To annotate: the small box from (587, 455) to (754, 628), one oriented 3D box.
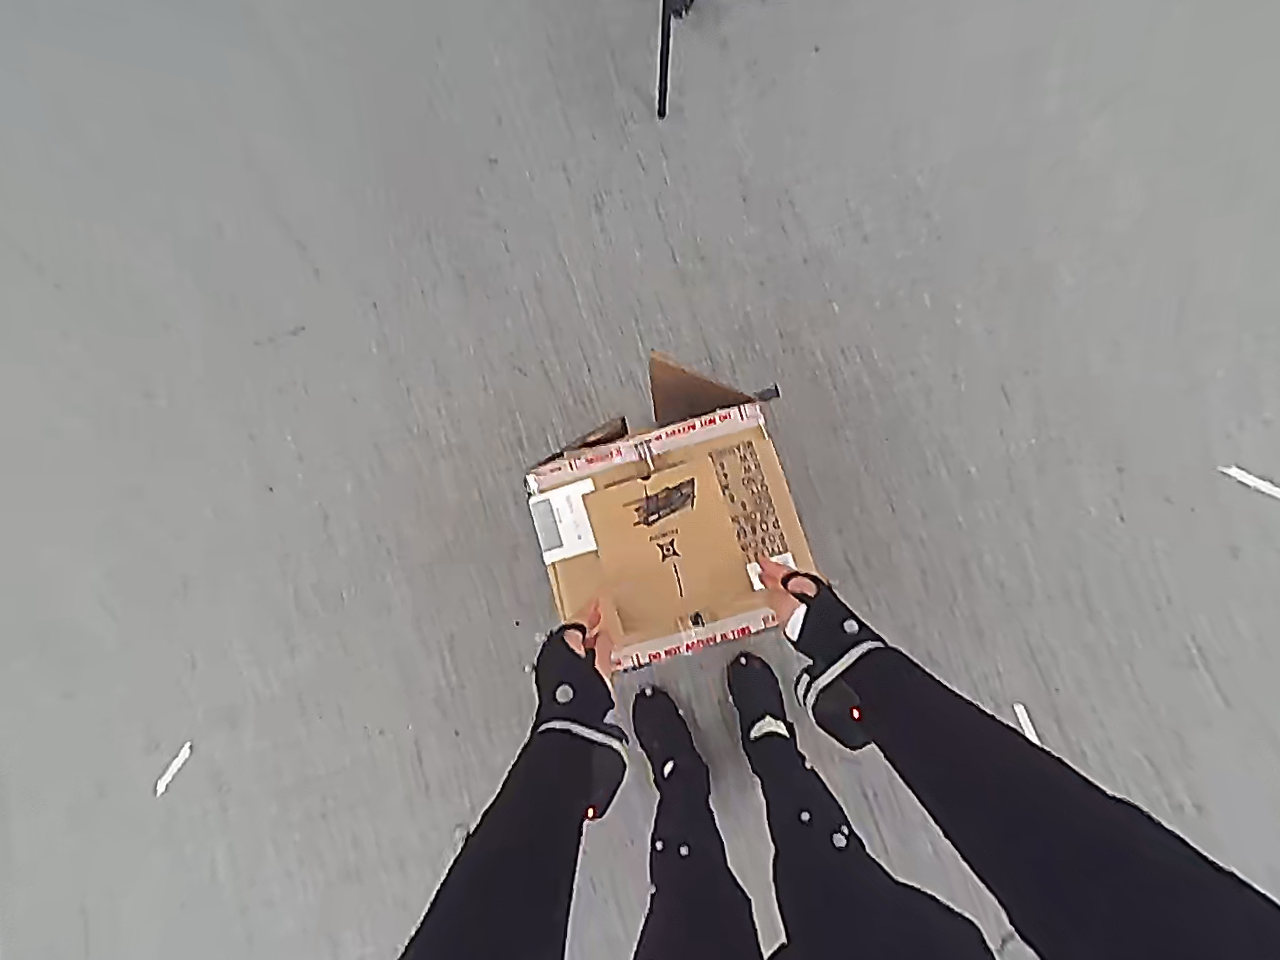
[{"bbox_3d":[0.037,0.081,0.731,0.168,0.176,0.179,-17,85,1],"label":"small box"}]
